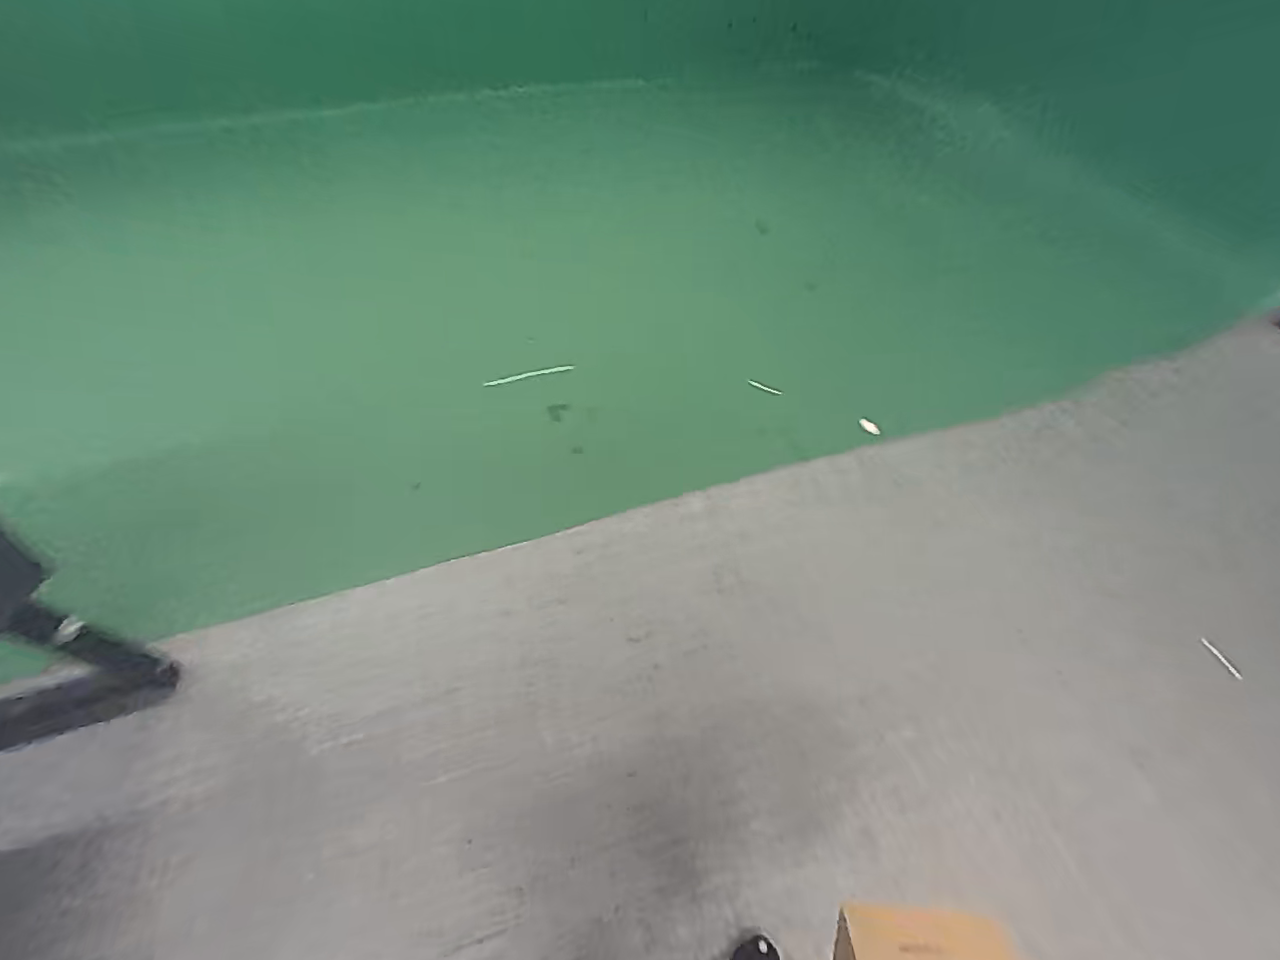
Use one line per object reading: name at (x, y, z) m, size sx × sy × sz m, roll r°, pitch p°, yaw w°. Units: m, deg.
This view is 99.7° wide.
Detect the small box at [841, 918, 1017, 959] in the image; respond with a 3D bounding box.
small box at (0.302, 0.587, 0.532) m, size 0.168 × 0.176 × 0.179 m, roll 1°, pitch 17°, yaw 4°
